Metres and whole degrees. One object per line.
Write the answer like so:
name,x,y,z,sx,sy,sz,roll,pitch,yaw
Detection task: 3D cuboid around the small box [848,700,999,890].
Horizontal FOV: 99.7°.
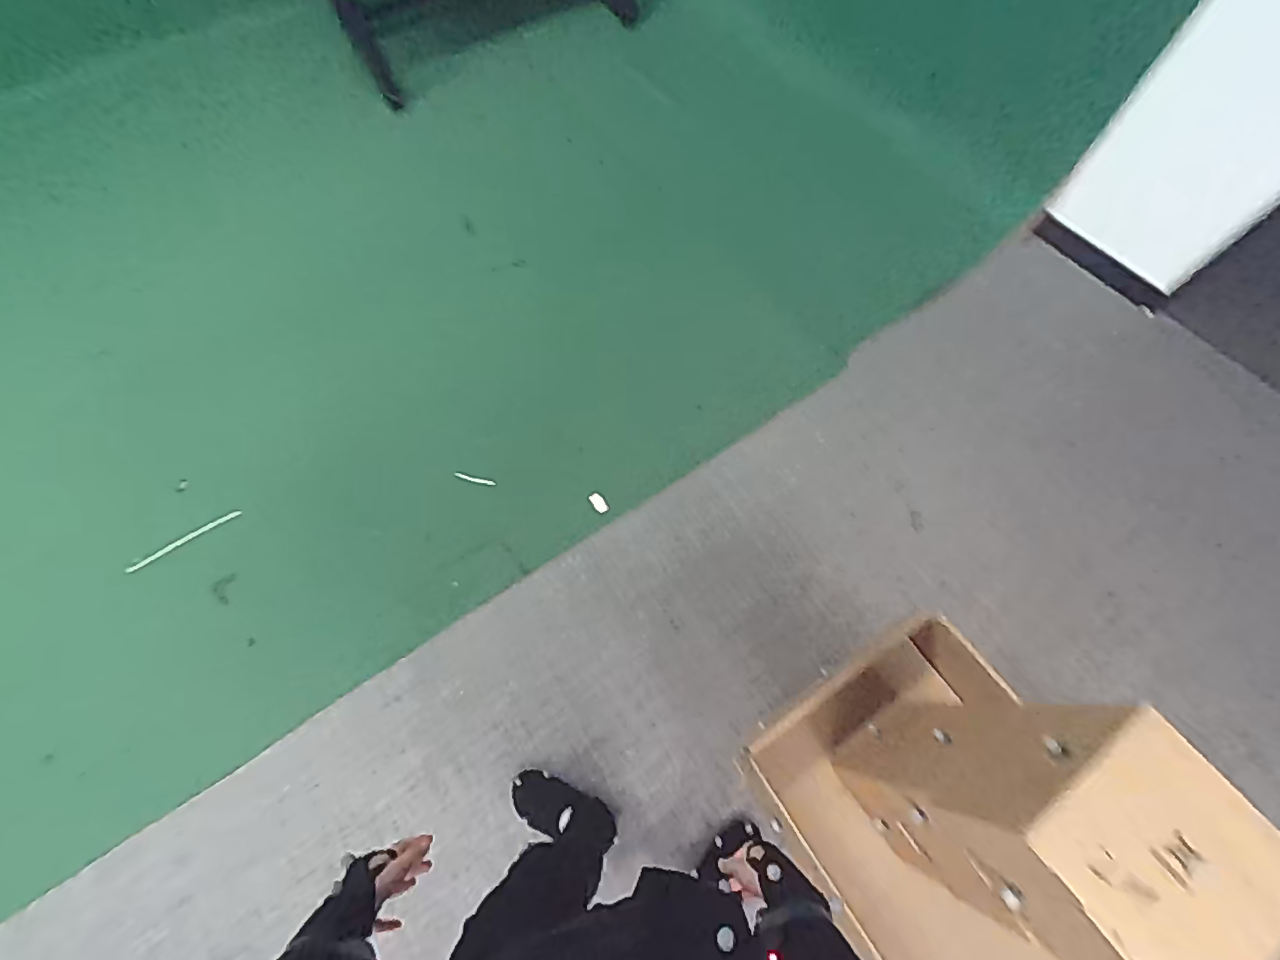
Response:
small box,0.438,0.453,0.809,0.179,0.176,0.168,-33,72,-11

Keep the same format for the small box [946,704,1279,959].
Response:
small box,0.435,0.330,0.504,0.179,0.176,0.168,-33,70,-12
